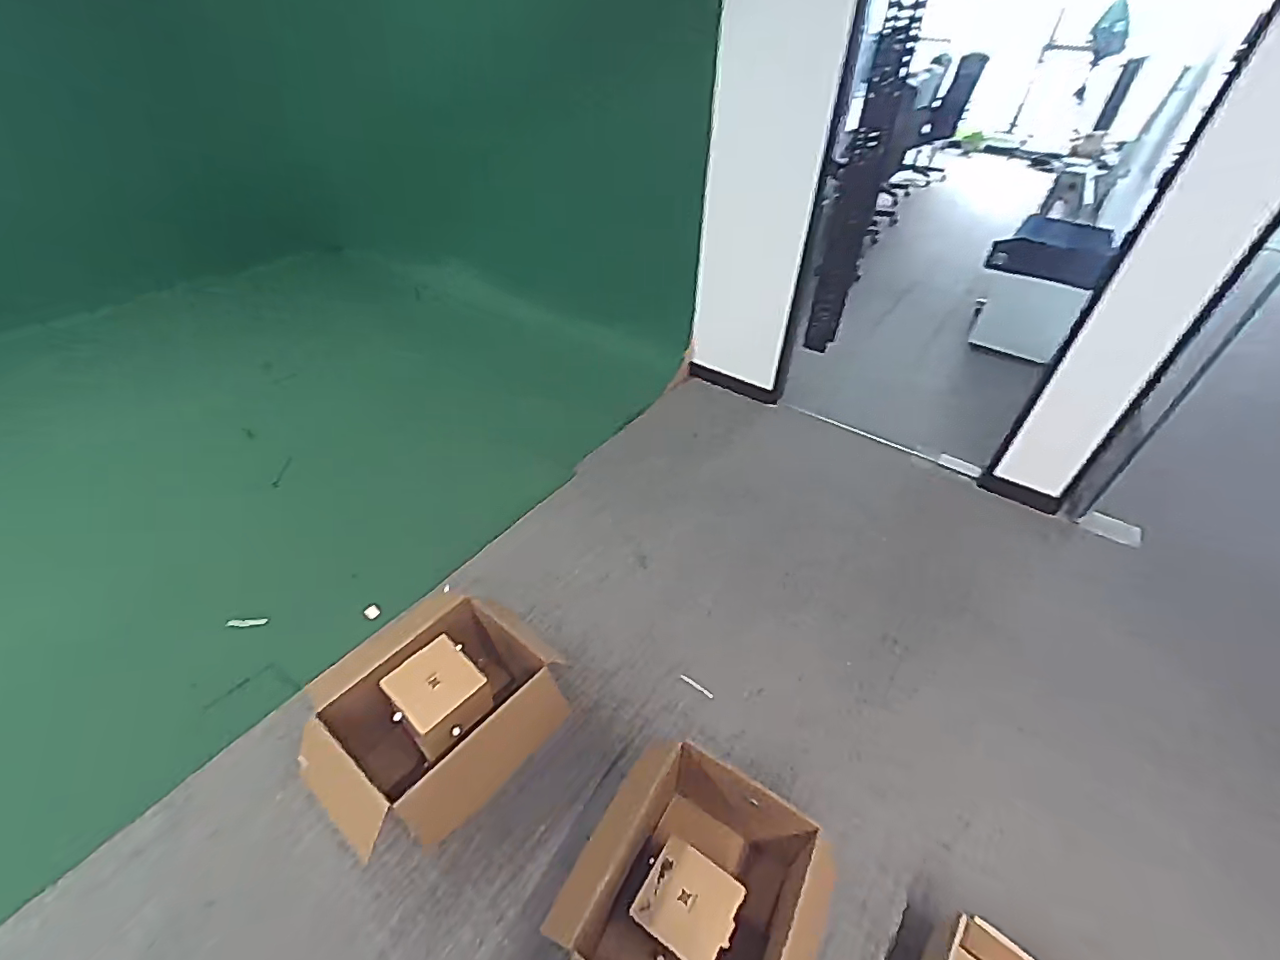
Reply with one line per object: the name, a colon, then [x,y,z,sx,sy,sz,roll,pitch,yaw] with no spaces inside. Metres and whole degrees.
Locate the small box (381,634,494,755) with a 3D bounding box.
small box: [-0.459,0.503,1.254,0.179,0.176,0.168,32,49,28]
